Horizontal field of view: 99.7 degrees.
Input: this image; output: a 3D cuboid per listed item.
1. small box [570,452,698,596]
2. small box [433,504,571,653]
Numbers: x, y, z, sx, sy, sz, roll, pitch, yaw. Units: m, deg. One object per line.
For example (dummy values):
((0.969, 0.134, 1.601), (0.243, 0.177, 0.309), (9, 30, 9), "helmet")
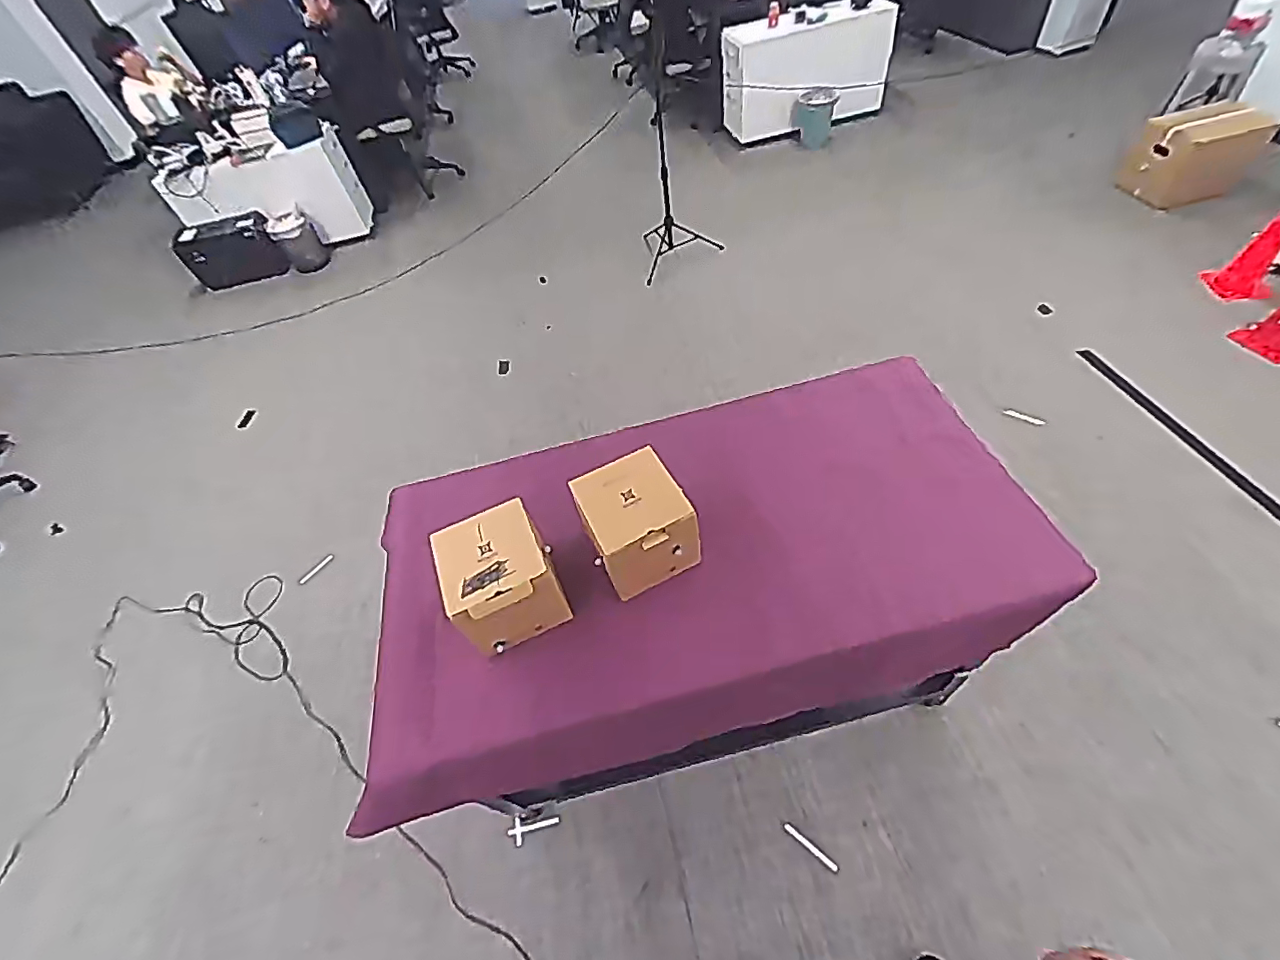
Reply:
((-0.005, 0.088, 0.983), (0.168, 0.176, 0.179), (-25, 51, -10), "small box")
((-0.237, 0.180, 0.949), (0.168, 0.176, 0.179), (-24, 51, -9), "small box")
